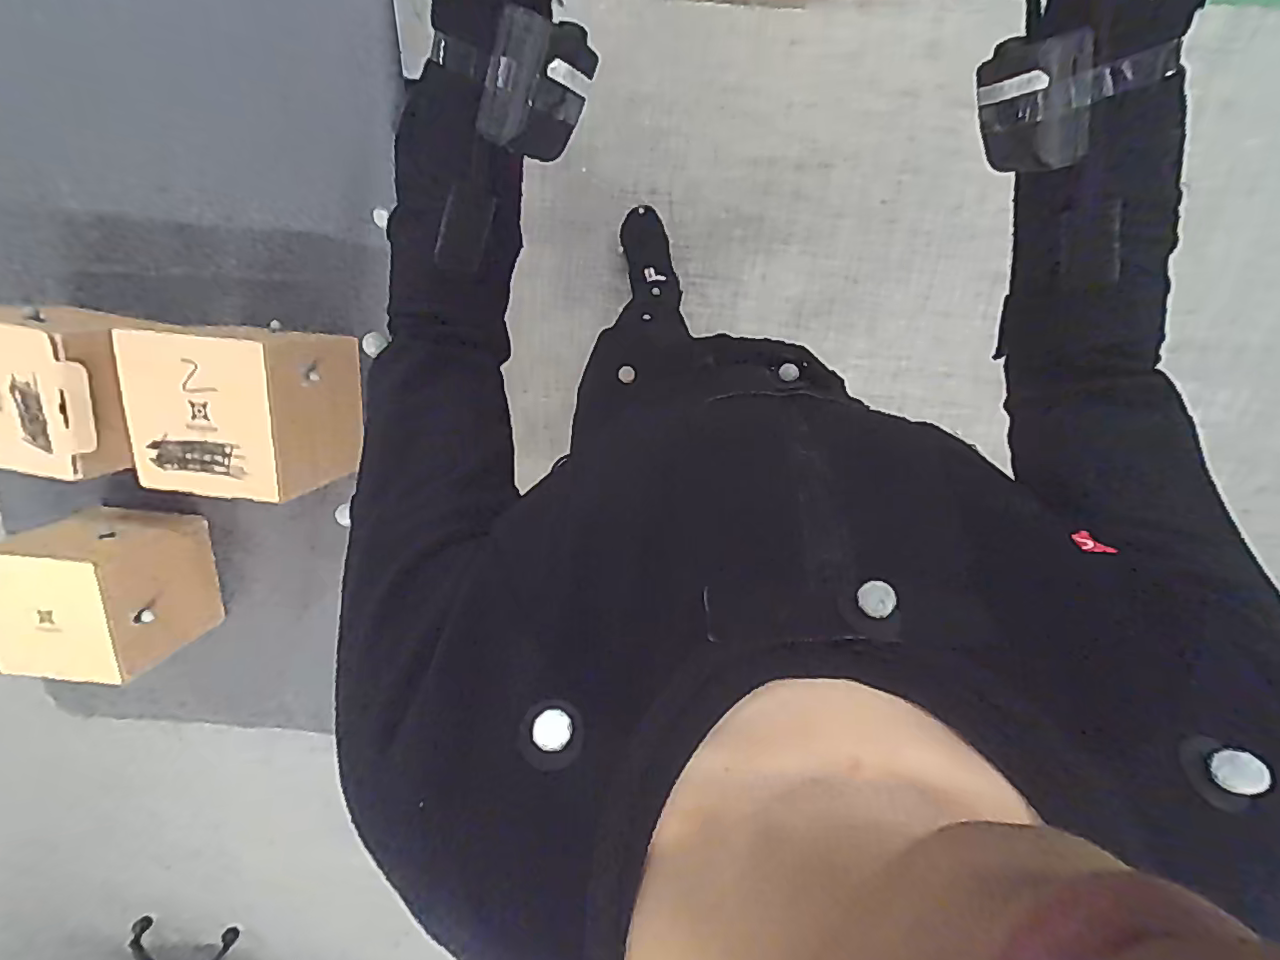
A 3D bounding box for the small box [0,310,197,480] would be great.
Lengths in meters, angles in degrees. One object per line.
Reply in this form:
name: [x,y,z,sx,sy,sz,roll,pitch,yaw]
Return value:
small box: [-0.688,-0.113,0.664,0.179,0.176,0.168,10,107,2]
